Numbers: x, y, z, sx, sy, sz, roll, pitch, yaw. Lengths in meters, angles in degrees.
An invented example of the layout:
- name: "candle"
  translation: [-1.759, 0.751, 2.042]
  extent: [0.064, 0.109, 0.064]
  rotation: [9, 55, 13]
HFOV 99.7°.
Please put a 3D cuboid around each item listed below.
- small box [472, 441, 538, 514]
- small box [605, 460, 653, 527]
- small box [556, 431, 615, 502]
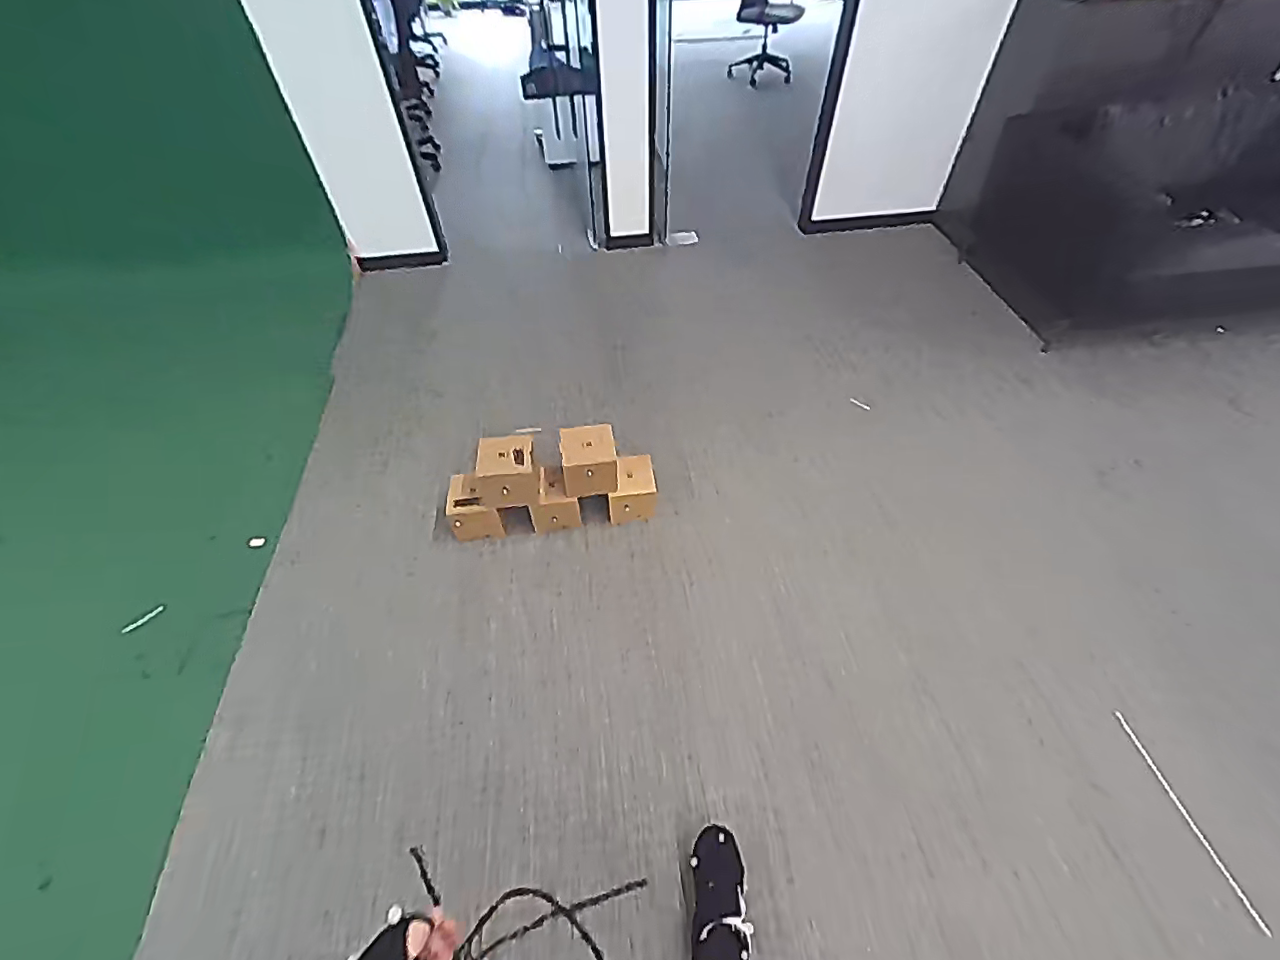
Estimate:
- name: "small box"
  translation: [-0.434, -0.006, 1.772]
  extent: [0.179, 0.176, 0.168]
  rotation: [-5, 49, -3]
- name: "small box"
  translation: [-0.043, 0.055, 1.933]
  extent: [0.168, 0.176, 0.179]
  rotation: [-6, 50, -4]
- name: "small box"
  translation: [-0.179, -0.041, 1.801]
  extent: [0.179, 0.176, 0.168]
  rotation: [-6, 50, -7]
